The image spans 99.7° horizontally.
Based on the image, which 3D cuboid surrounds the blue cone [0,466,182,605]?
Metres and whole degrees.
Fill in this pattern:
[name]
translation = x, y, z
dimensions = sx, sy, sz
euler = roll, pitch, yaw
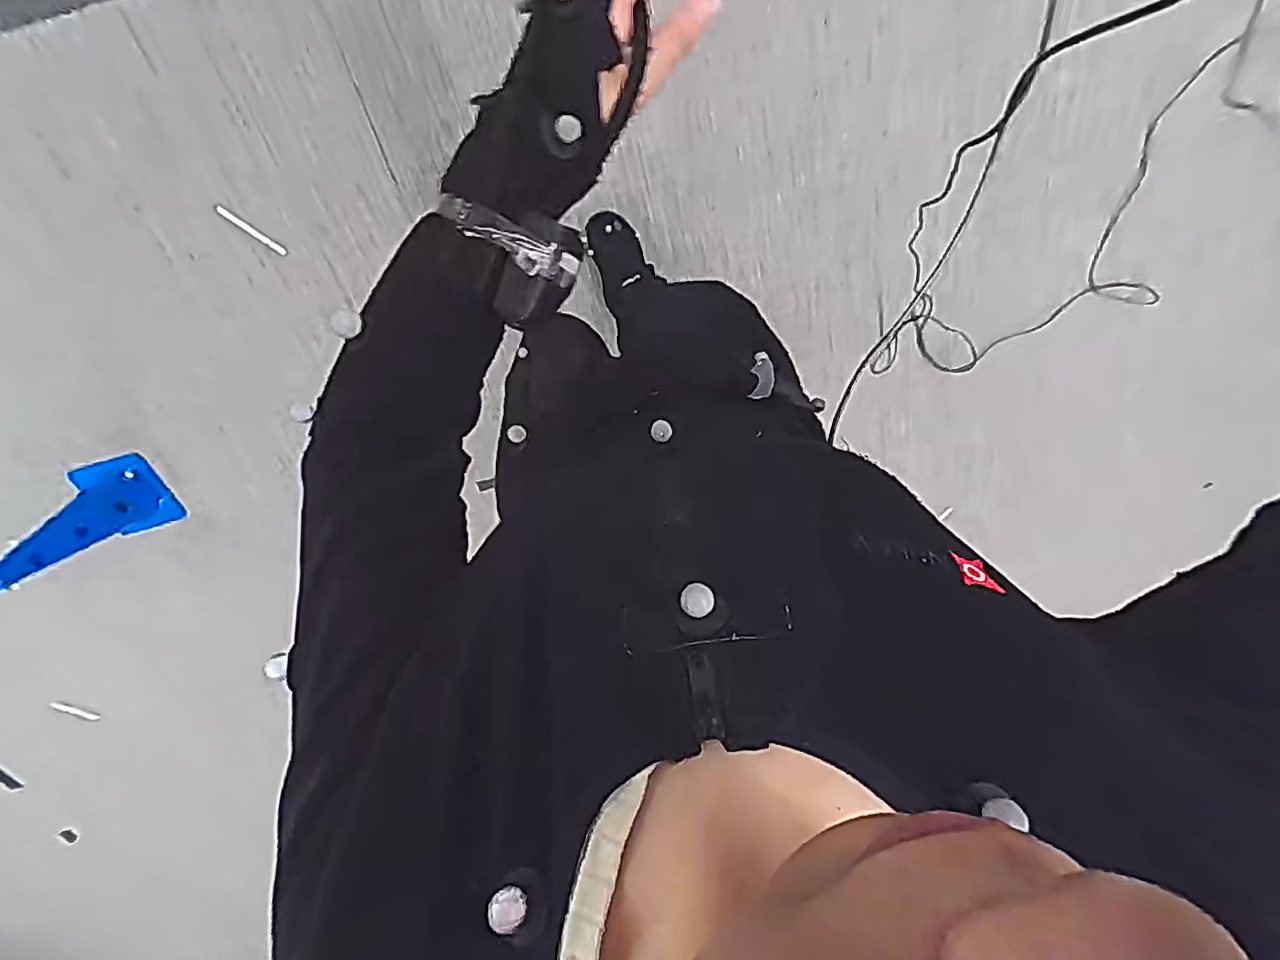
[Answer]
[blue cone]
translation = -1.274, 0.136, 1.218
dimensions = 0.193, 0.380, 0.192
euler = -15, 118, 3
